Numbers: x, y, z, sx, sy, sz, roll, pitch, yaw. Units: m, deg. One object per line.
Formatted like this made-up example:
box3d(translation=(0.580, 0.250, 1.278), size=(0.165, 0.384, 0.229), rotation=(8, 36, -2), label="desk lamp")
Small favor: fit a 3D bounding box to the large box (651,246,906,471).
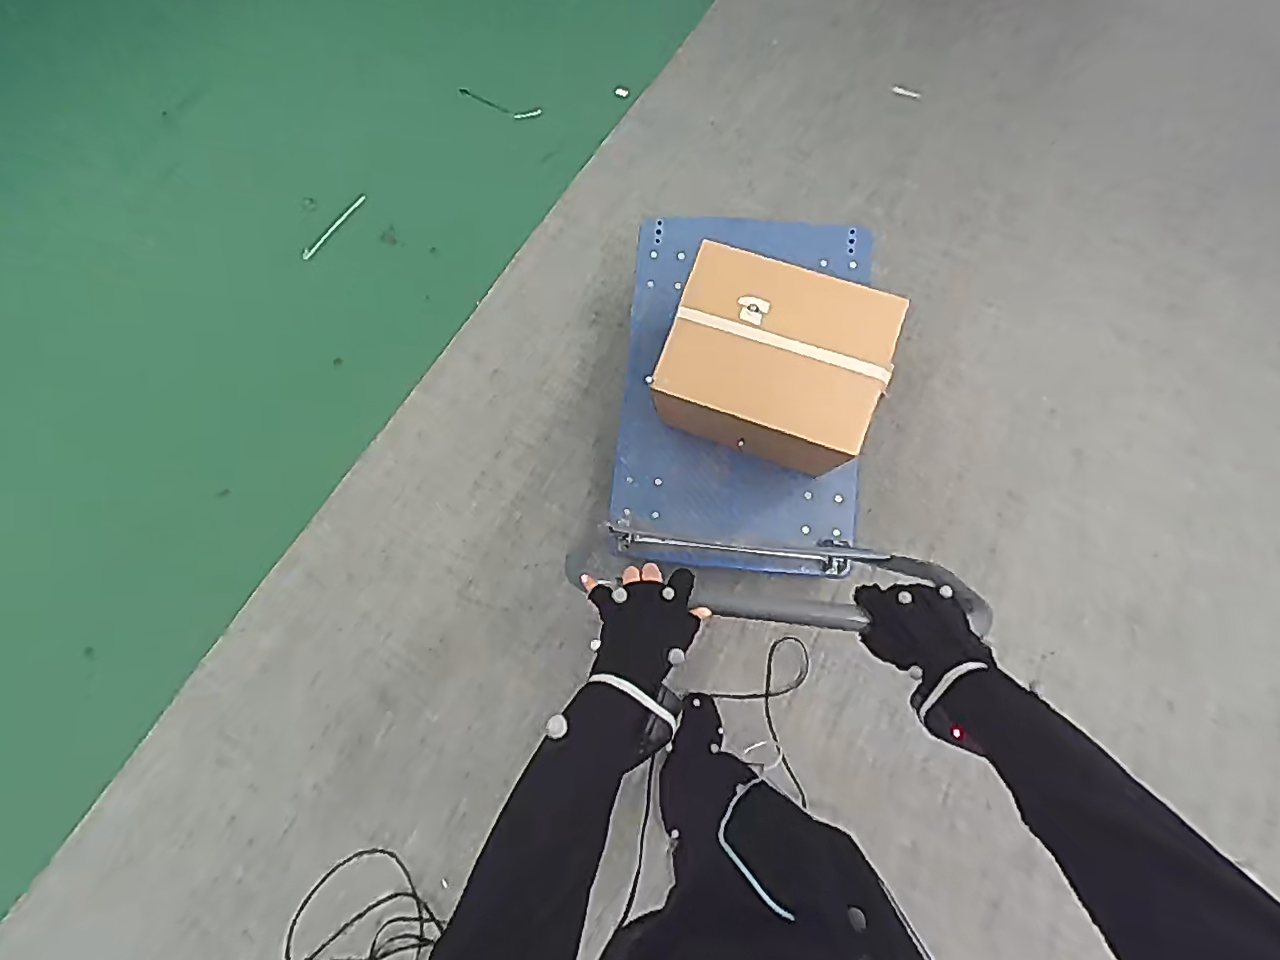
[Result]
box3d(translation=(0.273, -0.234, 1.155), size=(0.408, 0.320, 0.320), rotation=(20, 86, 8), label="large box")
